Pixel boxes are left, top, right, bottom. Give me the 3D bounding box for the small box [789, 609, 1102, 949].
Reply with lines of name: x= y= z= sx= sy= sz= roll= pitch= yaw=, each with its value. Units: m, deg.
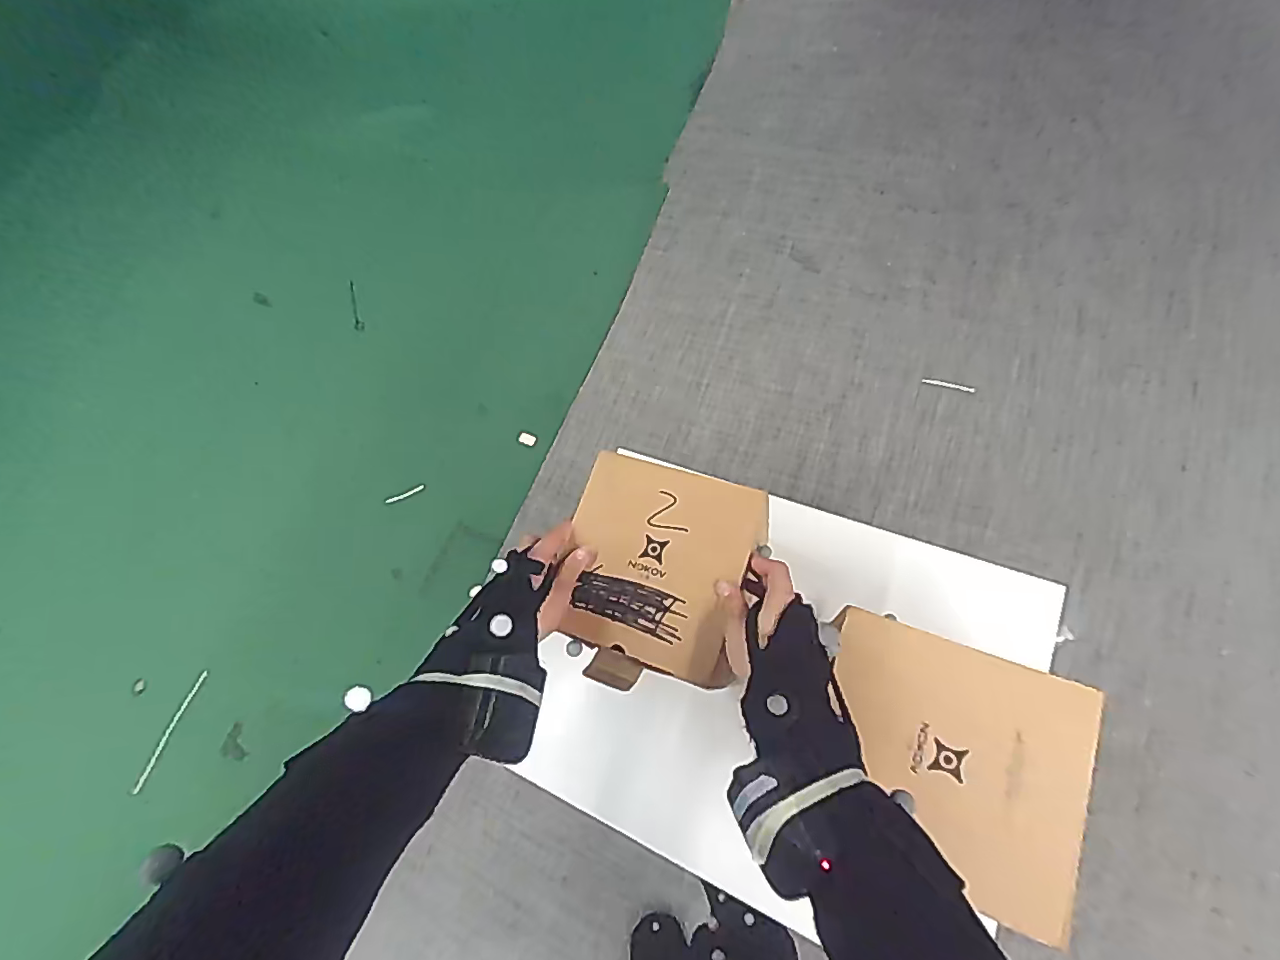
small box: x=0.232 y=0.225 z=0.455 sx=0.179 sy=0.176 sz=0.168 roll=16 pitch=76 yaw=19
